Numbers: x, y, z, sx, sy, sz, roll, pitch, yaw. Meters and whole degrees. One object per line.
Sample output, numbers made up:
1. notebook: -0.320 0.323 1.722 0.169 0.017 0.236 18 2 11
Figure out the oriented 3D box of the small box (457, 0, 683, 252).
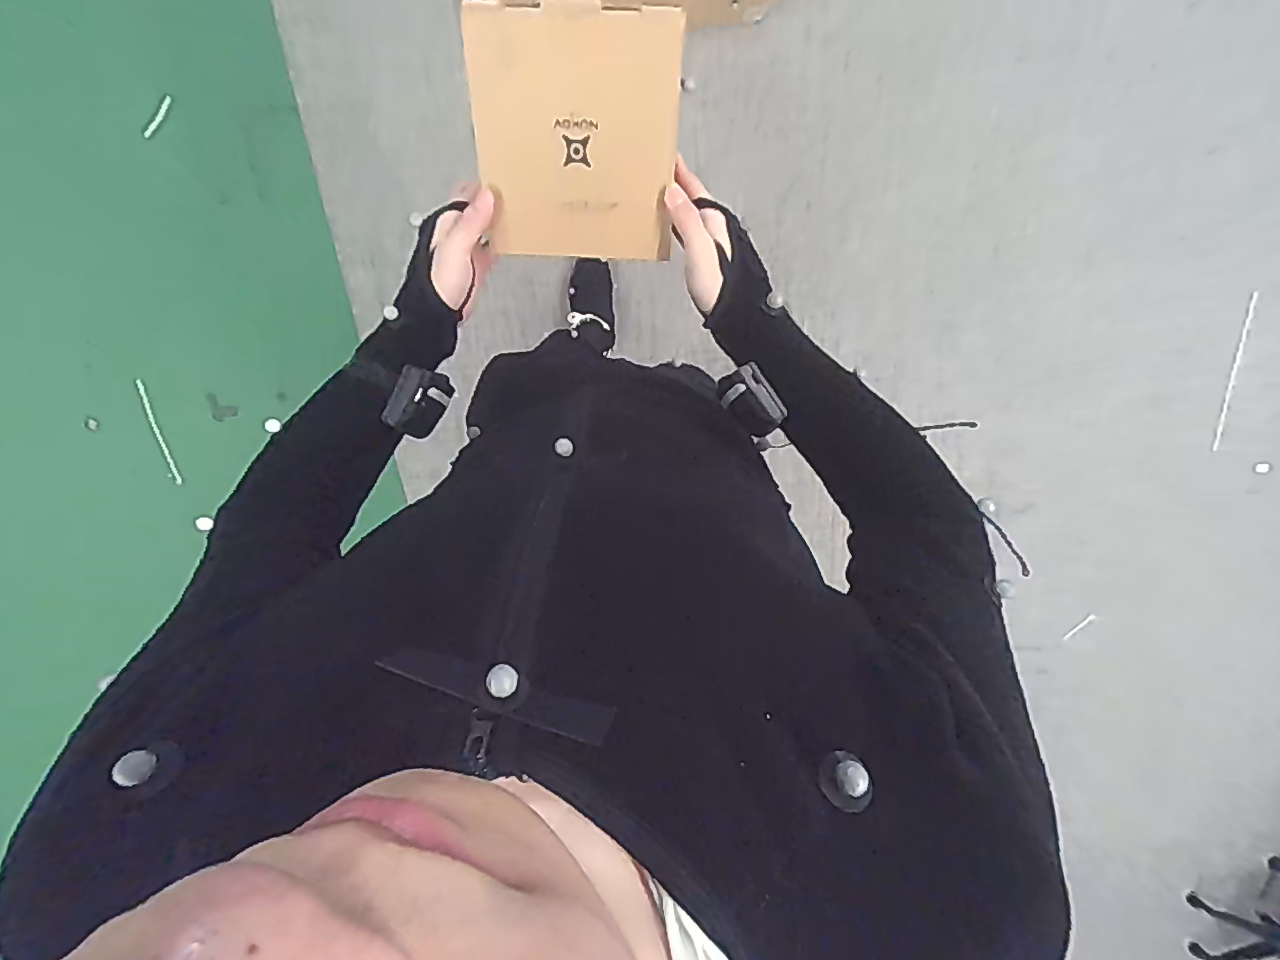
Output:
1. small box: -0.053 -0.323 0.495 0.168 0.176 0.179 3 126 0
